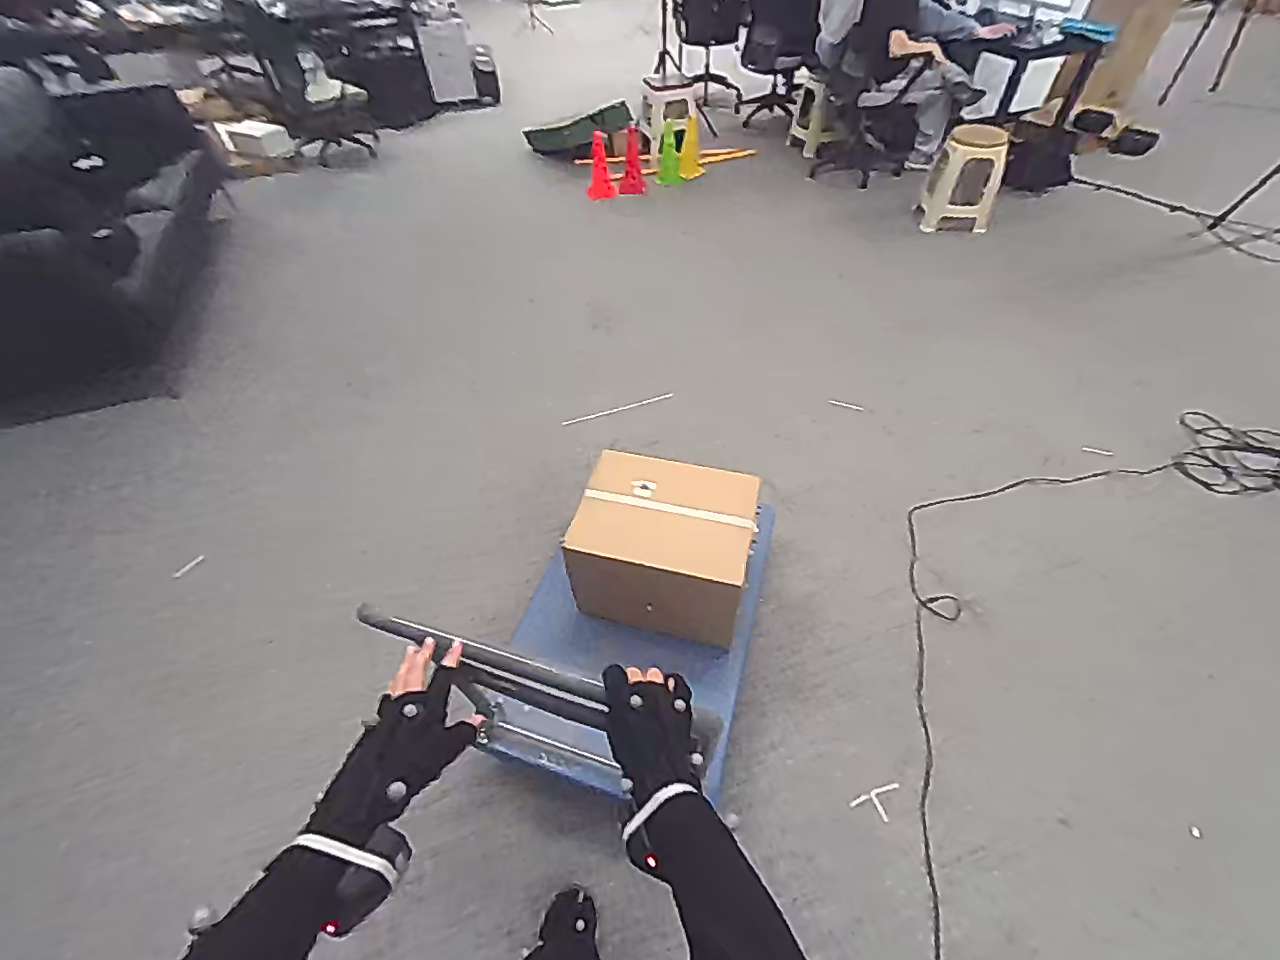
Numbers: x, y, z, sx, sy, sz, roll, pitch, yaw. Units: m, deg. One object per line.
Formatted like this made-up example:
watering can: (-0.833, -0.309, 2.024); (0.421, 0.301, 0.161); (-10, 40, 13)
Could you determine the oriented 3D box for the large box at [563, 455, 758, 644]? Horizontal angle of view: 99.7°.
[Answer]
large box: (0.068, 0.174, 1.364); (0.408, 0.320, 0.320); (10, 49, 13)
